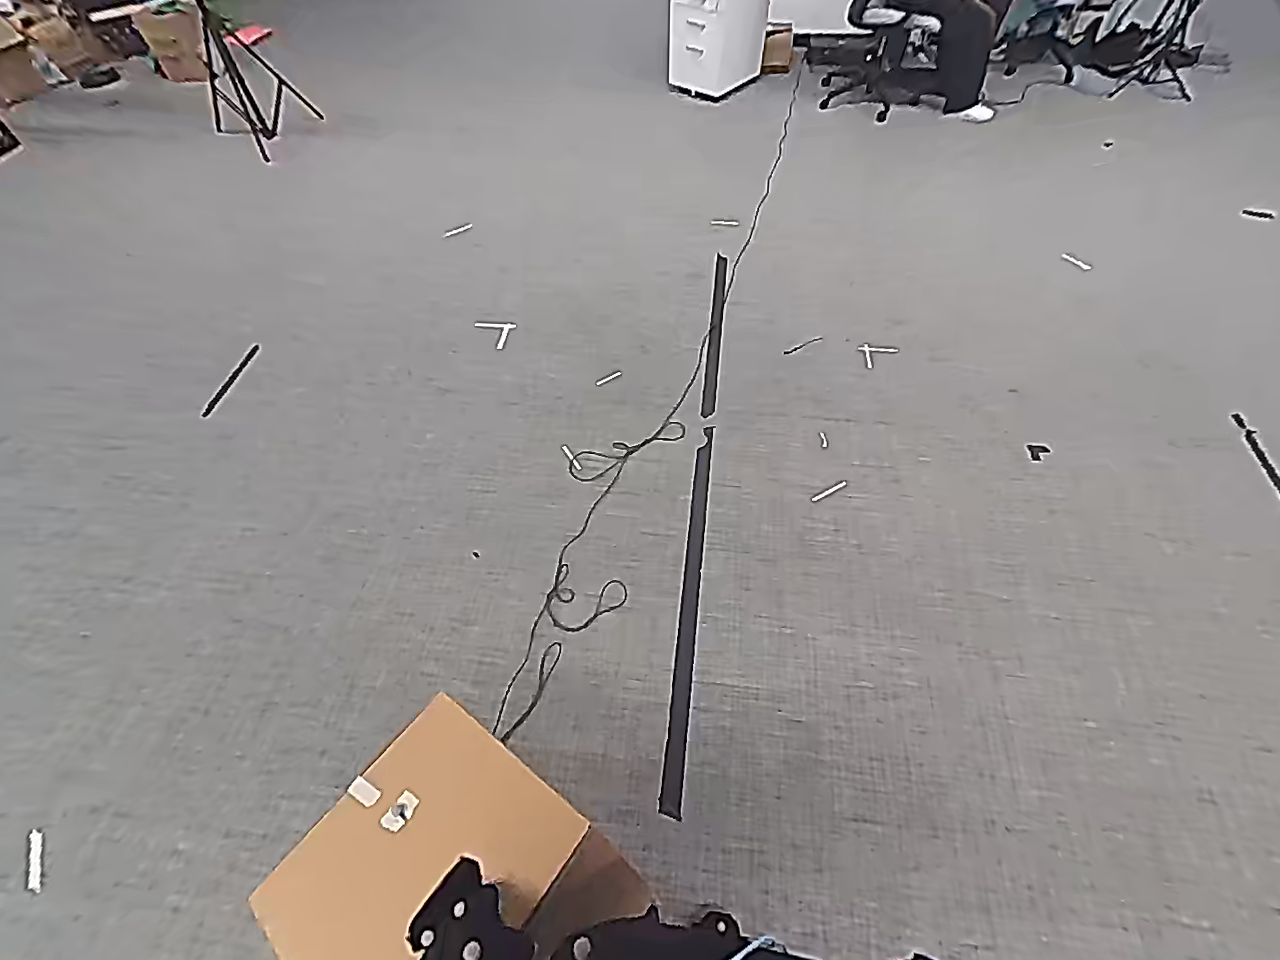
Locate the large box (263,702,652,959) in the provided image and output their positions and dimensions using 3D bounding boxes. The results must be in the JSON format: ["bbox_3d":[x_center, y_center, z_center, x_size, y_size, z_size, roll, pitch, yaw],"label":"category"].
[{"bbox_3d":[-0.228,0.603,0.792,0.320,0.408,0.320,23,56,34],"label":"large box"}]
